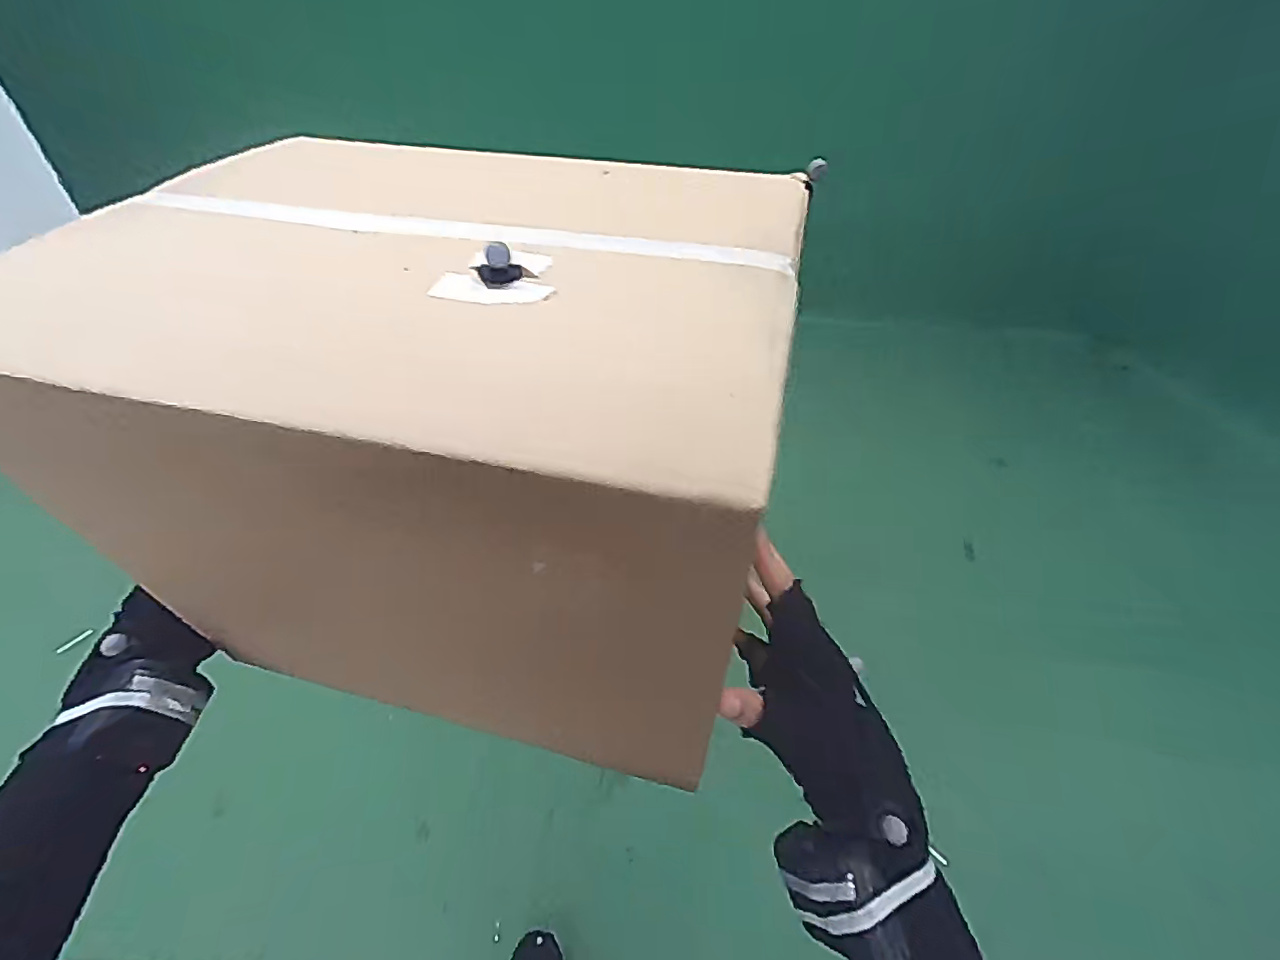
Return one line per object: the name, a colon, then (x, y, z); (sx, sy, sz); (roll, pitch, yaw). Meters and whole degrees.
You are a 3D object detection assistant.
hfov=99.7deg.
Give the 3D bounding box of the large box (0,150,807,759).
large box: (-0.111, -0.032, 0.427); (0.408, 0.320, 0.320); (11, 48, 10)
